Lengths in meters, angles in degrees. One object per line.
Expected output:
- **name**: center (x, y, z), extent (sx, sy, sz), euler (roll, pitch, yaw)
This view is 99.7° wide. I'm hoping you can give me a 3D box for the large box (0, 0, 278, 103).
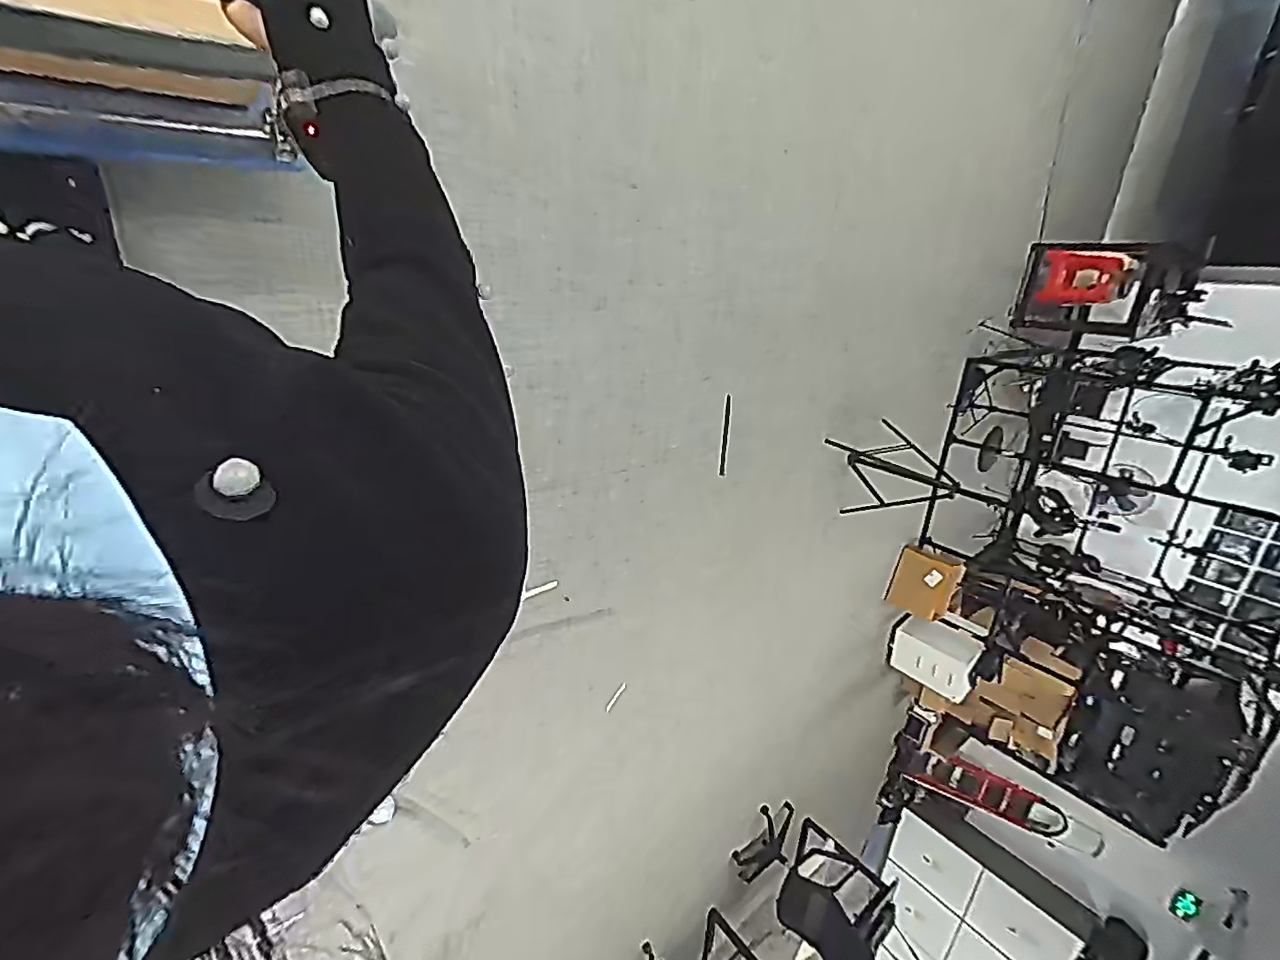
- **large box**: center (-0.732, -0.695, 0.652), extent (0.408, 0.320, 0.320), euler (-18, 119, -38)
